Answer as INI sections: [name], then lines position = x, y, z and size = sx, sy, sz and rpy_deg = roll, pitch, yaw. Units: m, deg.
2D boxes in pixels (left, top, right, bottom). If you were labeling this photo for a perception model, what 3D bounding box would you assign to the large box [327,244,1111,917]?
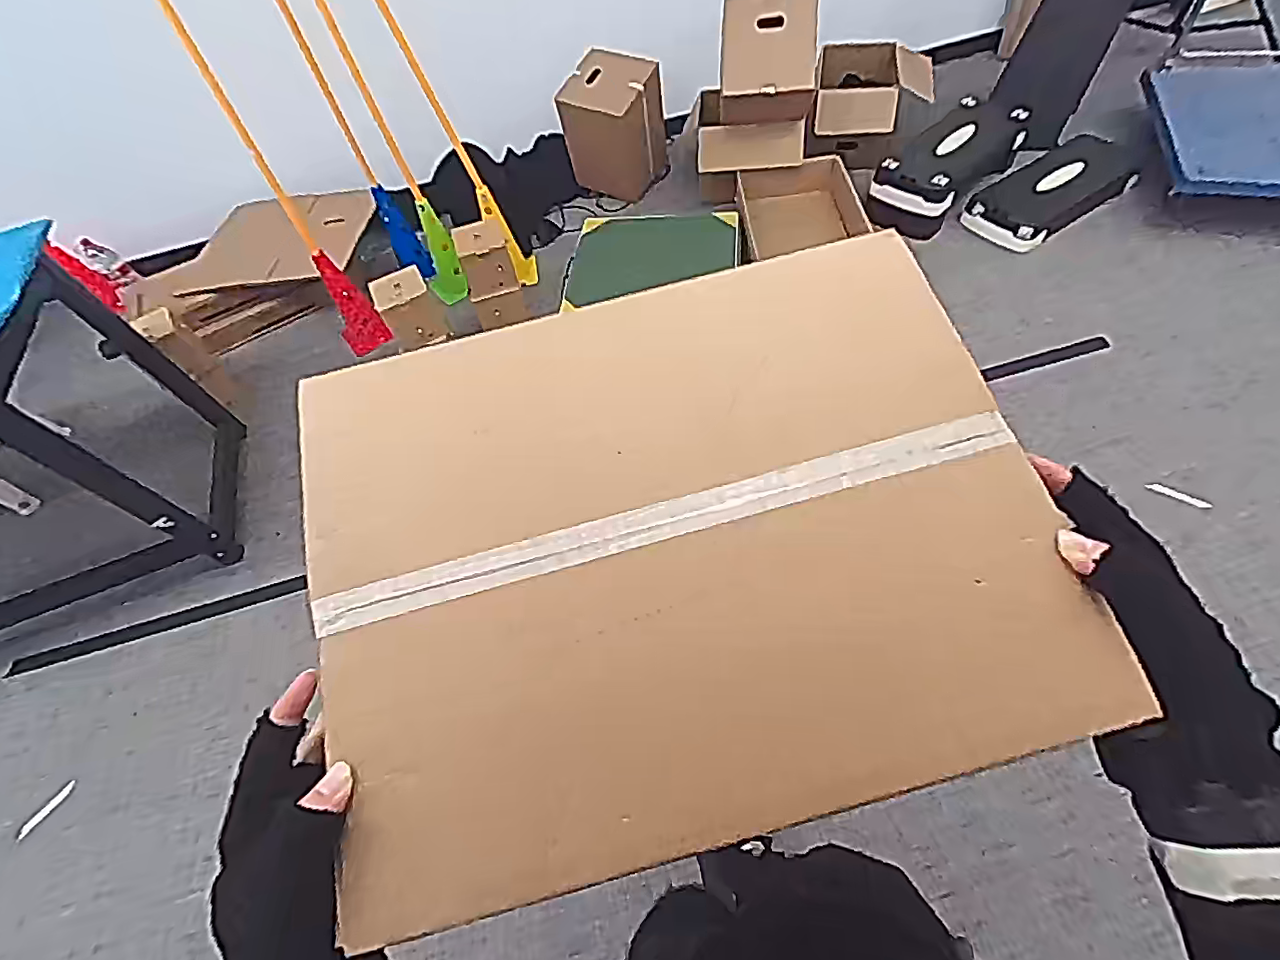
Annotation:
[large box]
position = 0.025, 0.074, 0.463
size = 0.408, 0.320, 0.320
rpy_deg = -16, 71, -2
